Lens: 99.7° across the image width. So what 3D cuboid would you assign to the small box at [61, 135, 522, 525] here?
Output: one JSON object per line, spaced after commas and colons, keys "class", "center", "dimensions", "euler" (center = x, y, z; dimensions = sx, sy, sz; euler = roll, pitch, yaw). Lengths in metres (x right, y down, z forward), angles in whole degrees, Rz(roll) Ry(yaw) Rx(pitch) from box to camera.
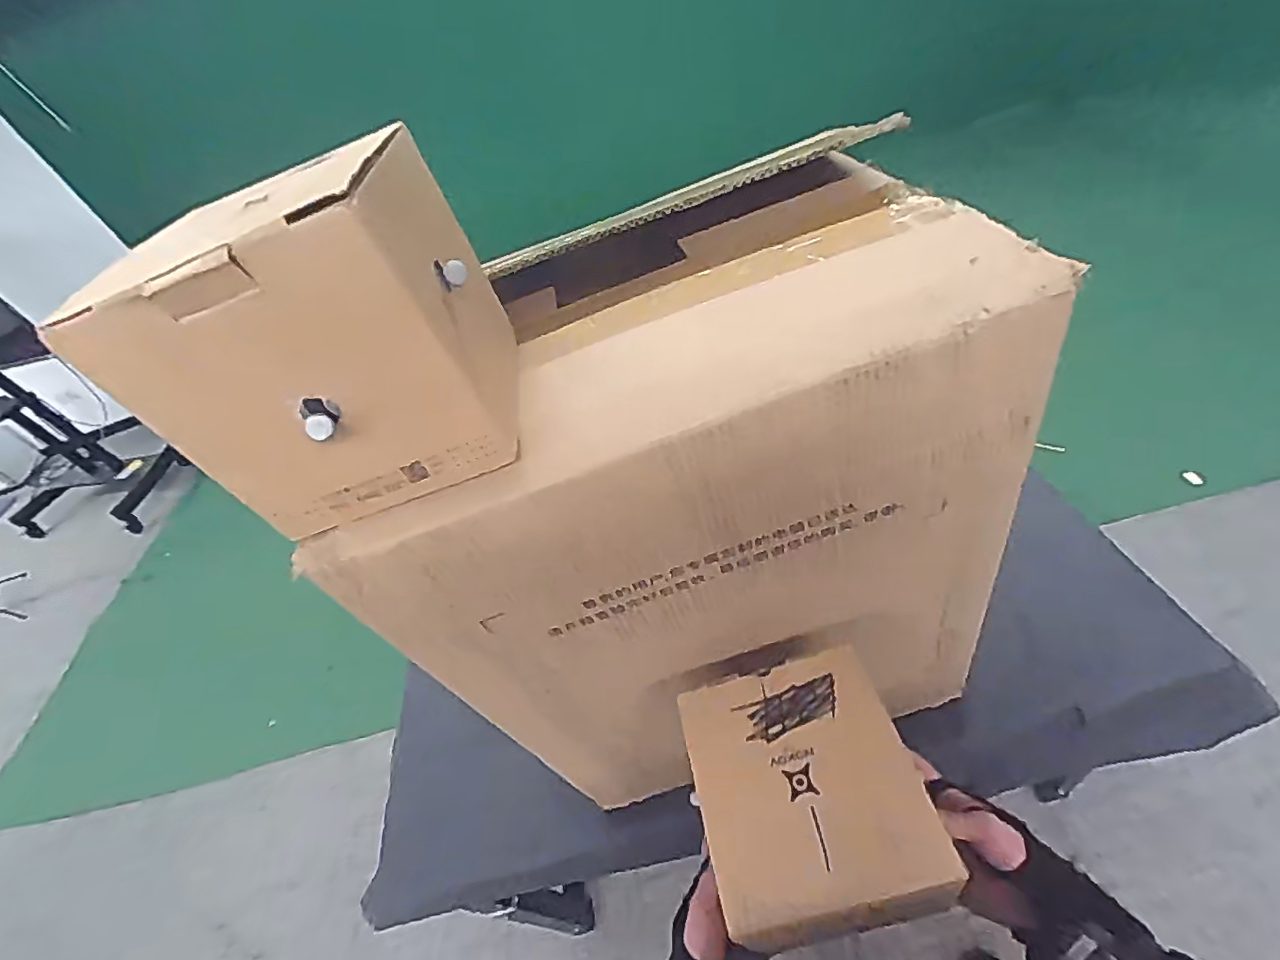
{"class": "small box", "center": [-0.189, -0.091, 0.362], "dimensions": [0.168, 0.176, 0.179], "euler": [-19, 44, 4]}
